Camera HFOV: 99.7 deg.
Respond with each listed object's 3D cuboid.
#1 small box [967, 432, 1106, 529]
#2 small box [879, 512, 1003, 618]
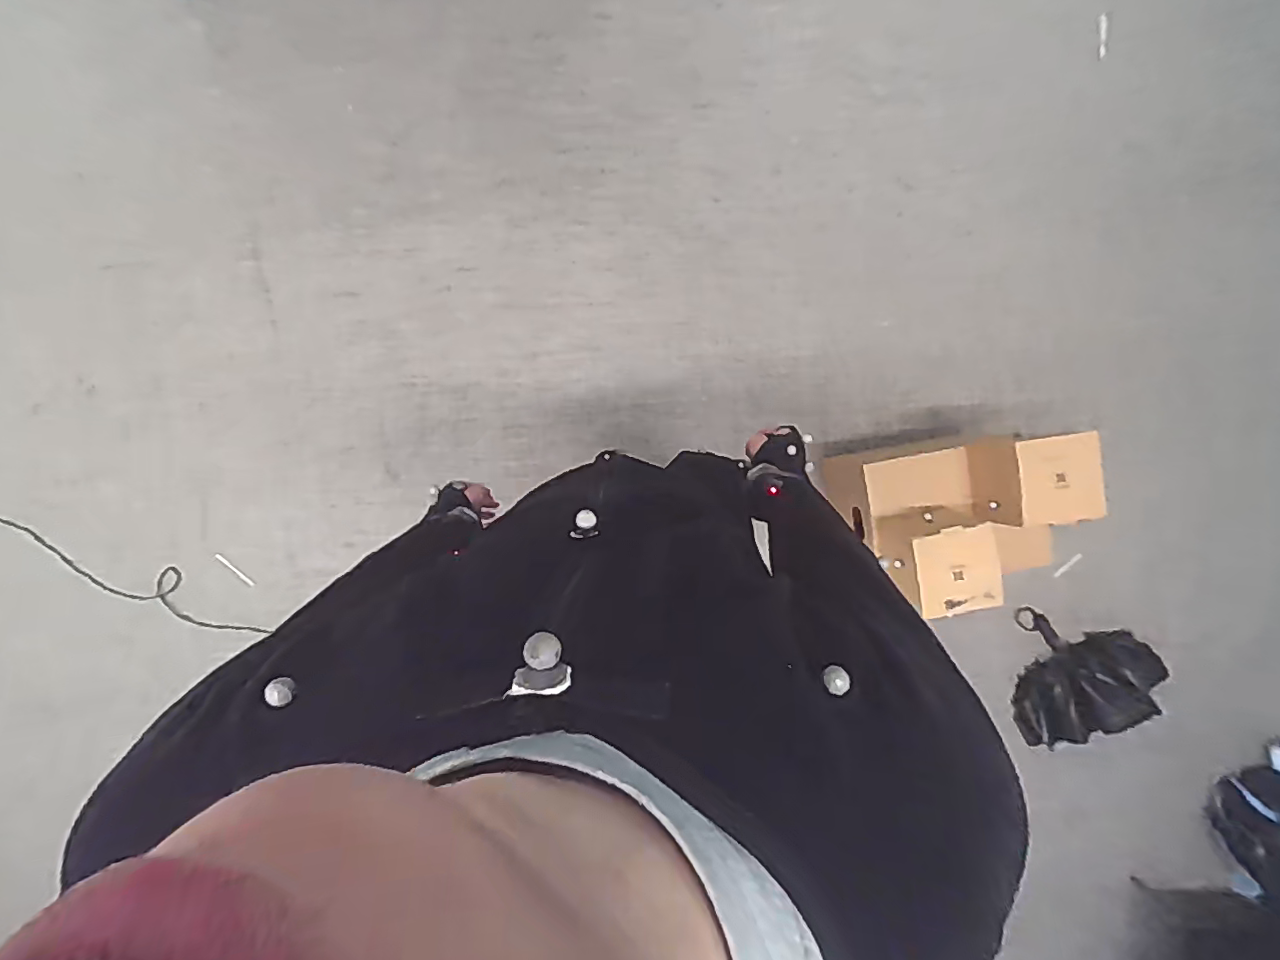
[{"bbox_3d":[0.829,-0.001,1.146,0.168,0.176,0.179,-9,91,1],"label":"small box"},{"bbox_3d":[0.637,0.172,1.163,0.168,0.176,0.179,-12,96,2],"label":"small box"}]
